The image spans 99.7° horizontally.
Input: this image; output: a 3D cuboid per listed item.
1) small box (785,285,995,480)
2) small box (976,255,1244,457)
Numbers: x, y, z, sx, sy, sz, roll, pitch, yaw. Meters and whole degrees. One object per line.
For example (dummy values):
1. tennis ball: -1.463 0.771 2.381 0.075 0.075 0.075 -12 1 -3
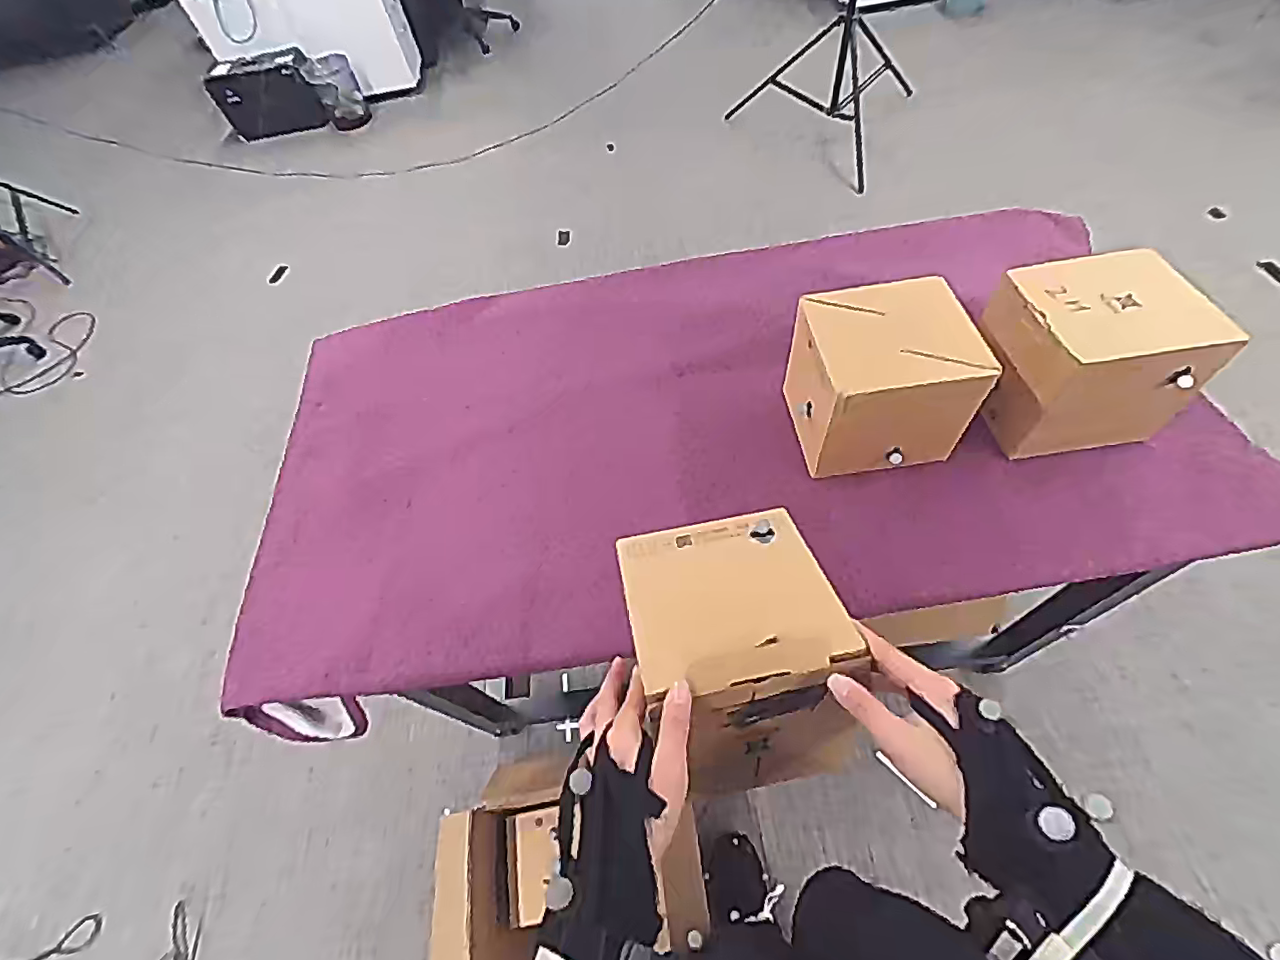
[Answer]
1. small box: 0.297 -0.122 0.685 0.179 0.176 0.168 -8 55 3
2. small box: 0.541 -0.147 0.670 0.179 0.176 0.168 -8 54 2
